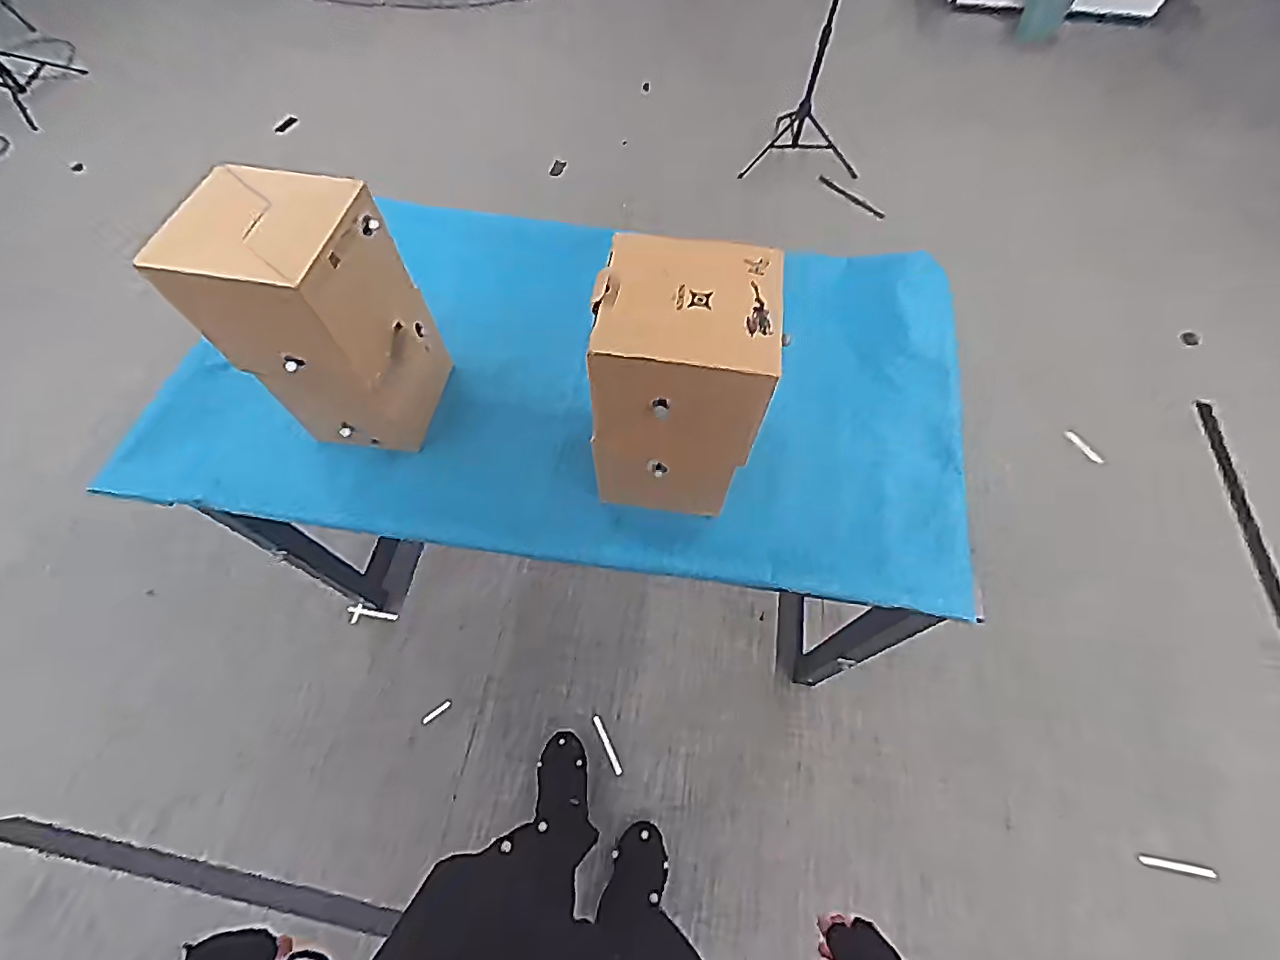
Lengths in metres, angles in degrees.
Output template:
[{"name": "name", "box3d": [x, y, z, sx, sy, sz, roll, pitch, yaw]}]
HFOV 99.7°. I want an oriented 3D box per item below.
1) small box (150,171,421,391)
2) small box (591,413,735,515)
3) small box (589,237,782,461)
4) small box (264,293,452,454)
[{"name": "small box", "box3d": [-0.394, -0.228, 0.632, 0.179, 0.176, 0.168, 9, 63, 4]}, {"name": "small box", "box3d": [0.041, -0.066, 0.734, 0.179, 0.176, 0.168, 8, 63, 5]}, {"name": "small box", "box3d": [0.047, -0.134, 0.586, 0.179, 0.176, 0.168, 5, 62, 2]}, {"name": "small box", "box3d": [-0.395, -0.163, 0.786, 0.168, 0.176, 0.179, 10, 65, 7]}]
